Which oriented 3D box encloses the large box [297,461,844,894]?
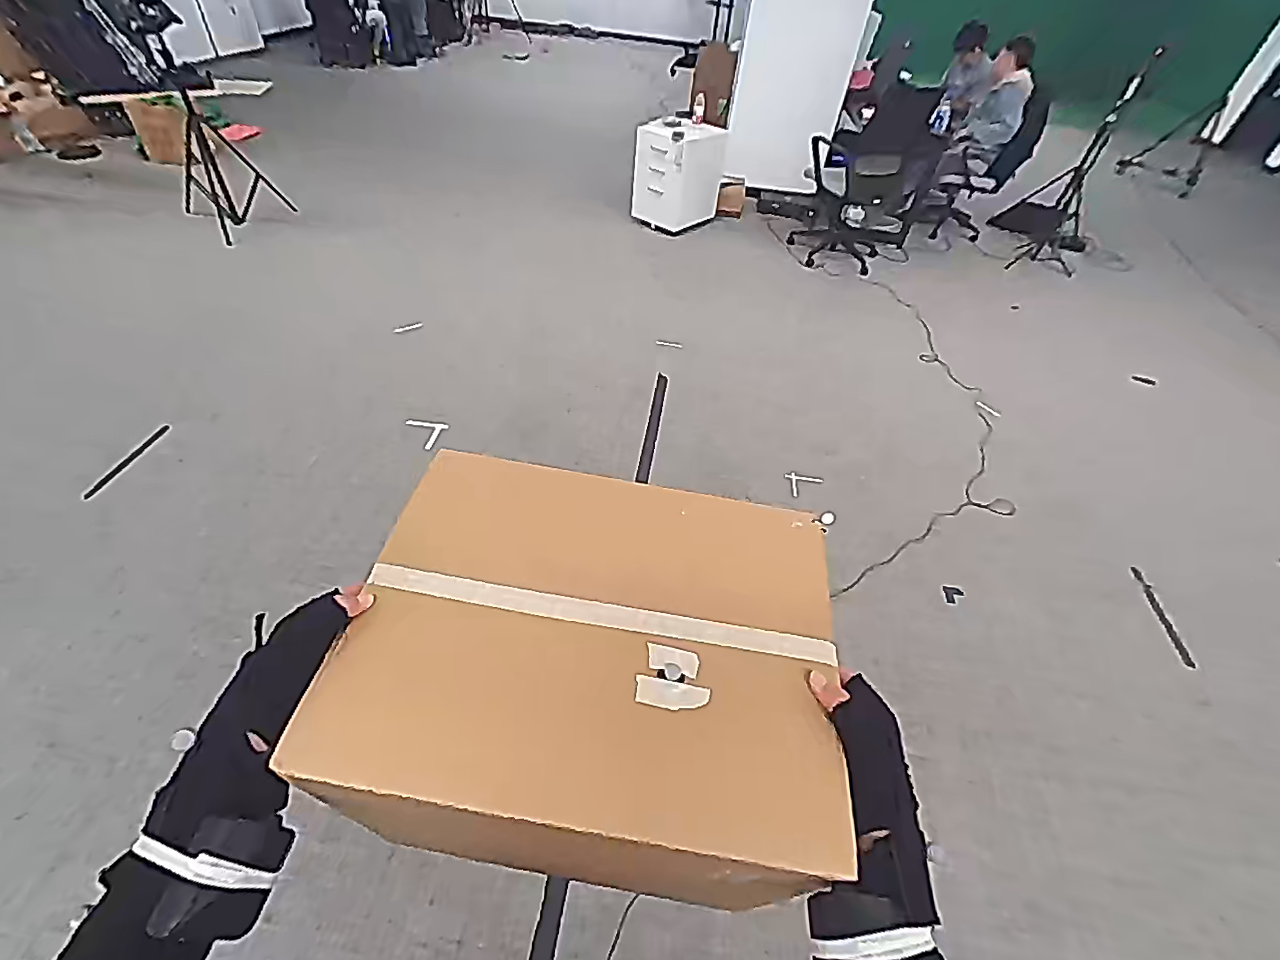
[{"bbox_3d":[-0.048,0.219,0.590,0.408,0.320,0.320,10,49,1],"label":"large box"}]
